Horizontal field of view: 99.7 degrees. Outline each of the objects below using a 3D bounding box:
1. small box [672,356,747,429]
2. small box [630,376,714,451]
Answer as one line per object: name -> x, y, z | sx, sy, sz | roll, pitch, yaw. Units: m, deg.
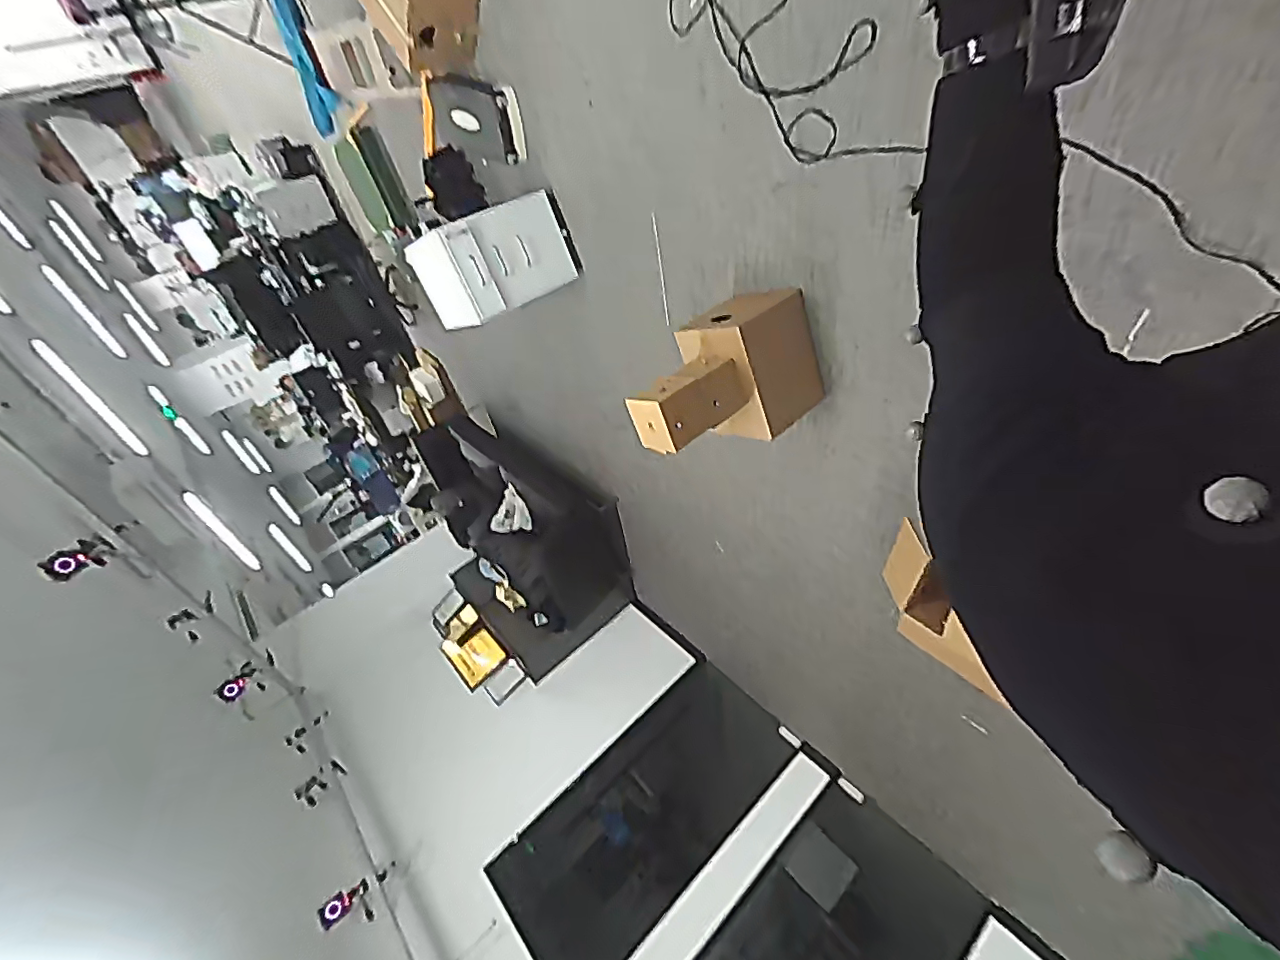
small box -> 0.226, -0.291, 1.771 | 0.168, 0.176, 0.179 | 16, 135, 52
small box -> 0.103, -0.216, 1.695 | 0.168, 0.176, 0.179 | 16, 136, 51
